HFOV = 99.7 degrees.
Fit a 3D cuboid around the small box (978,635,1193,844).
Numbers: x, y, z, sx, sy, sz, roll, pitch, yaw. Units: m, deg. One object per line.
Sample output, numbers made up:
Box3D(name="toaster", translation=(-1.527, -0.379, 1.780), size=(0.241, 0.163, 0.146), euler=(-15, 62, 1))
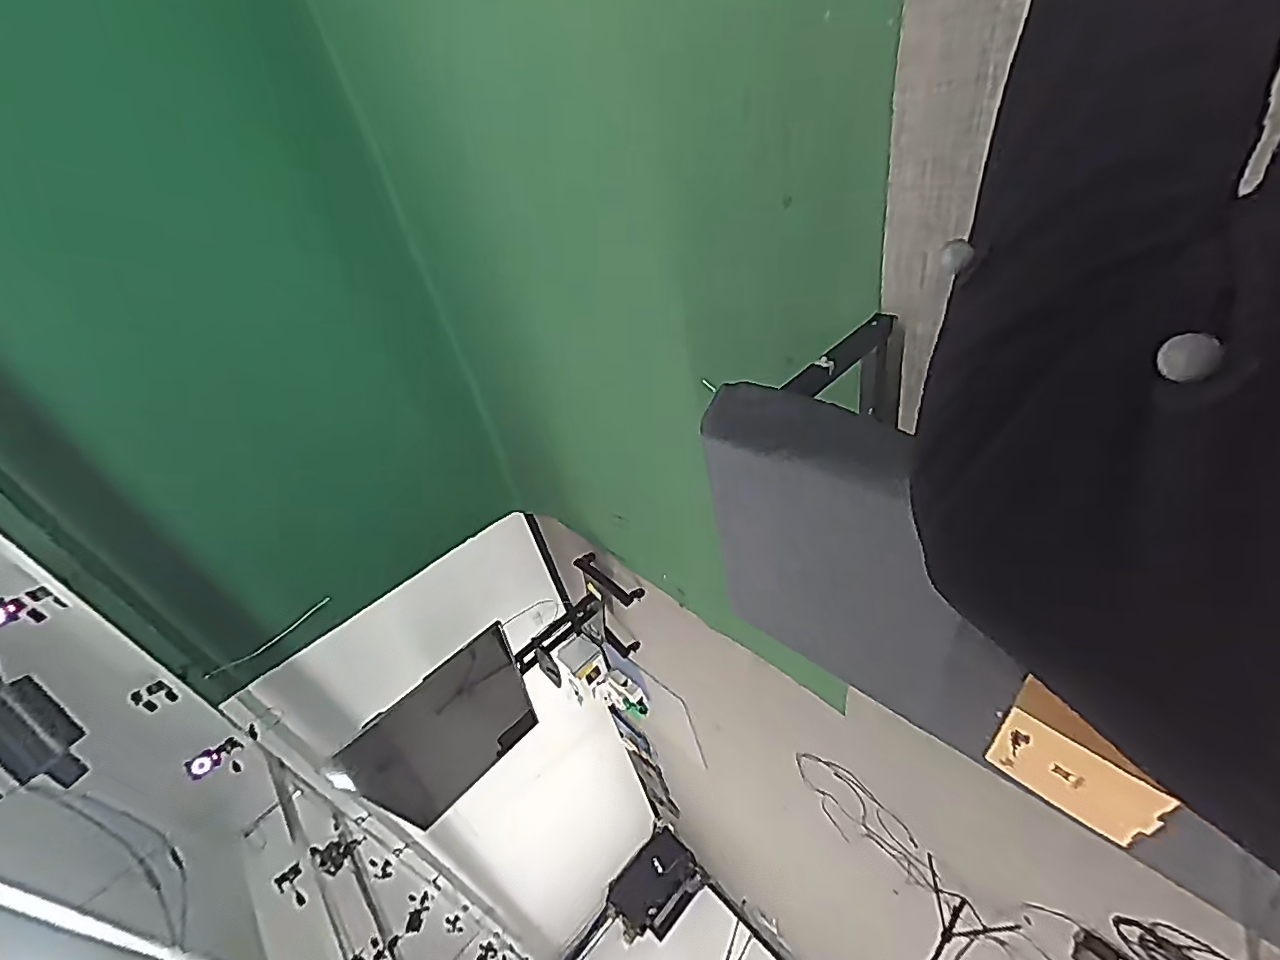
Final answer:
Box3D(name="small box", translation=(0.627, 0.358, 0.770), size=(0.179, 0.176, 0.168), euler=(29, 144, 39))
